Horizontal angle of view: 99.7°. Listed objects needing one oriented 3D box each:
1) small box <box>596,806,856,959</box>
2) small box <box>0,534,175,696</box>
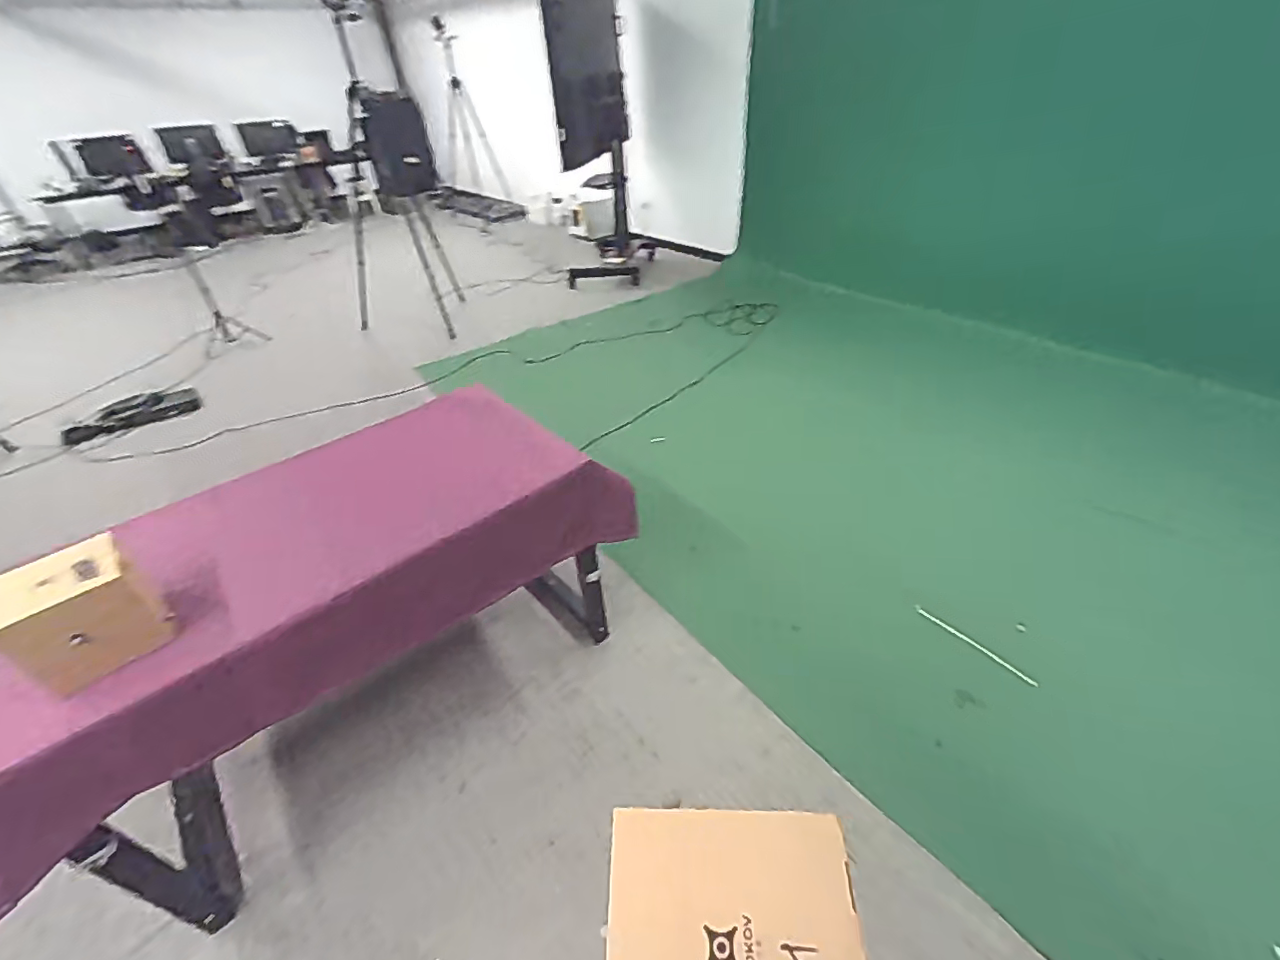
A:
[{"bbox_3d":[0.062,0.366,0.427,0.179,0.176,0.168,-1,52,3],"label":"small box"},{"bbox_3d":[-0.961,0.233,0.946,0.179,0.176,0.168,-33,45,-31],"label":"small box"}]
